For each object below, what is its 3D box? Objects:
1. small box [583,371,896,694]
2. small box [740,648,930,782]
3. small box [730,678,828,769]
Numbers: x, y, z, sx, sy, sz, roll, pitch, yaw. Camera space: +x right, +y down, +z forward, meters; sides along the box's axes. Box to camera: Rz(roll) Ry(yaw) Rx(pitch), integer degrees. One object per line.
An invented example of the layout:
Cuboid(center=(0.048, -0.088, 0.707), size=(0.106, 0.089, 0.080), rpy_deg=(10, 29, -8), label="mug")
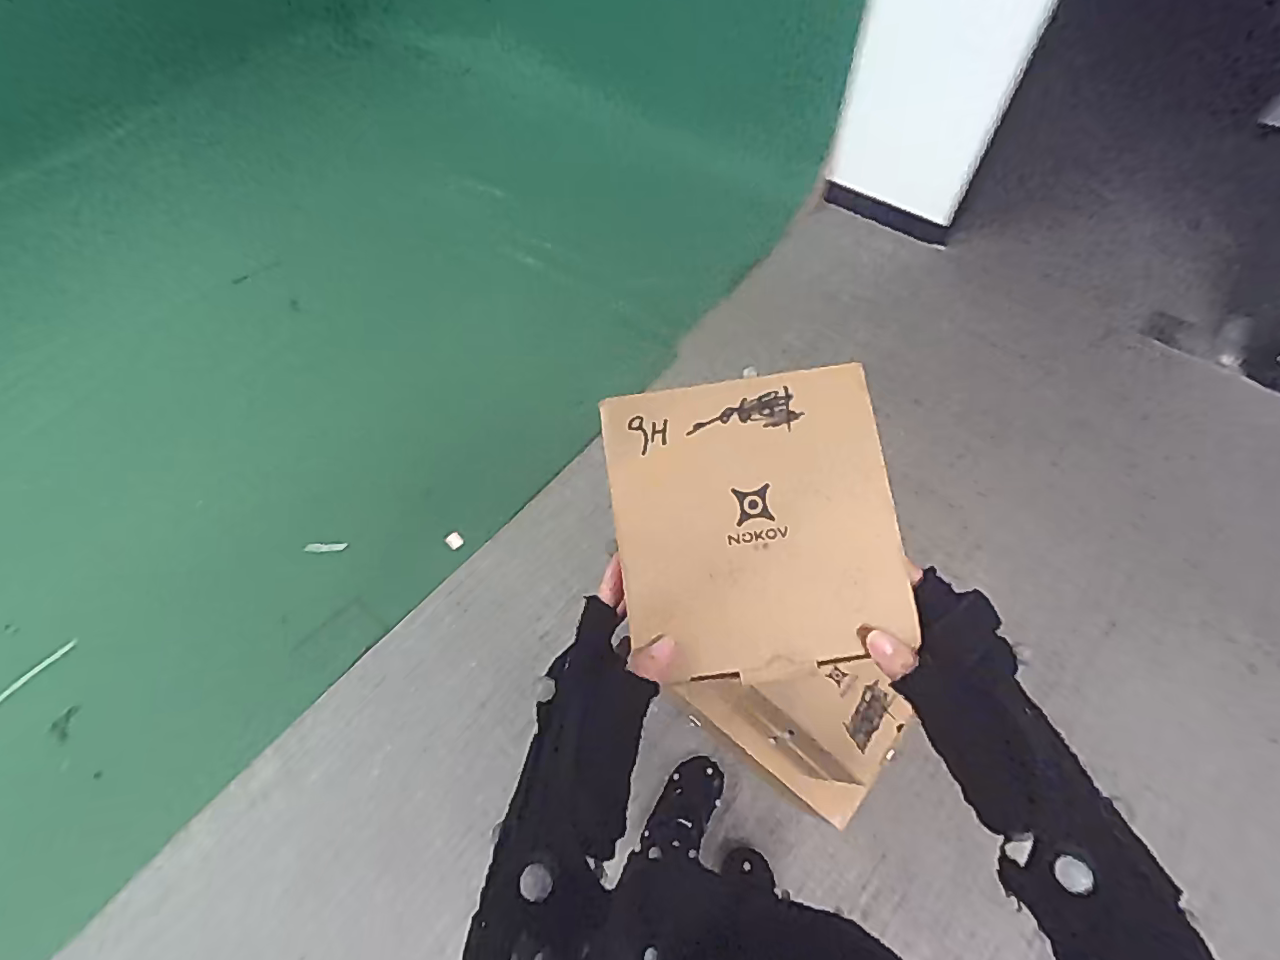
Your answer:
Cuboid(center=(0.059, 0.037, 0.400), size=(0.168, 0.176, 0.179), rpy_deg=(-9, 83, 0), label="small box")
Cuboid(center=(0.263, 0.291, 0.770), size=(0.179, 0.176, 0.168), rpy_deg=(36, 73, 20), label="small box")
Cuboid(center=(0.270, 0.361, 0.919), size=(0.179, 0.176, 0.168), rpy_deg=(38, 74, 20), label="small box")
